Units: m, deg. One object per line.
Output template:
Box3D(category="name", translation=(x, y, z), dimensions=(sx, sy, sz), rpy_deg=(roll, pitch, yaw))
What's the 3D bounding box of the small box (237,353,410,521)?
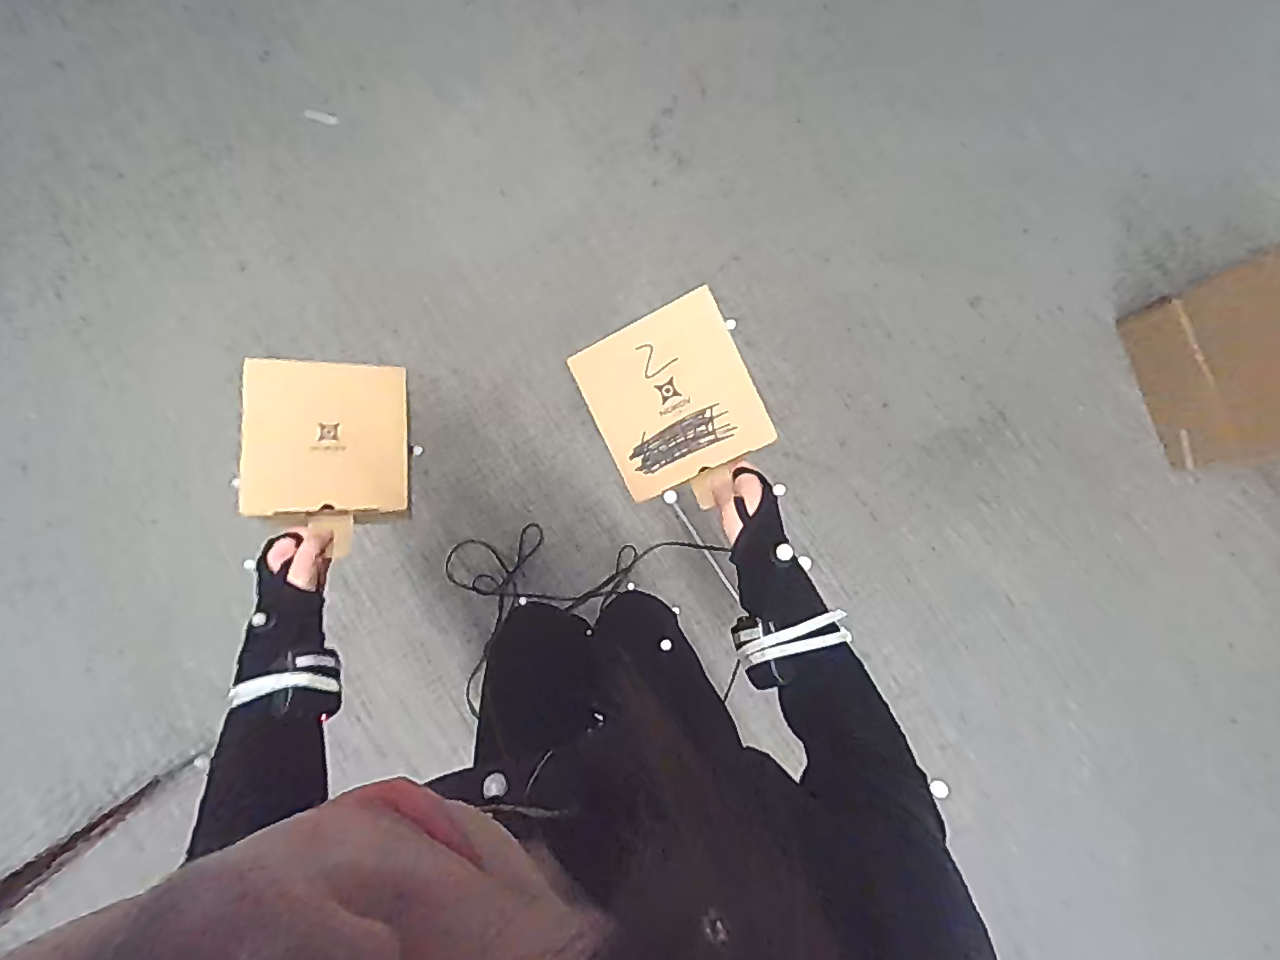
Box3D(category="small box", translation=(-0.382, -0.042, 0.682), dimensions=(0.168, 0.176, 0.179), rpy_deg=(0, 83, -23))
